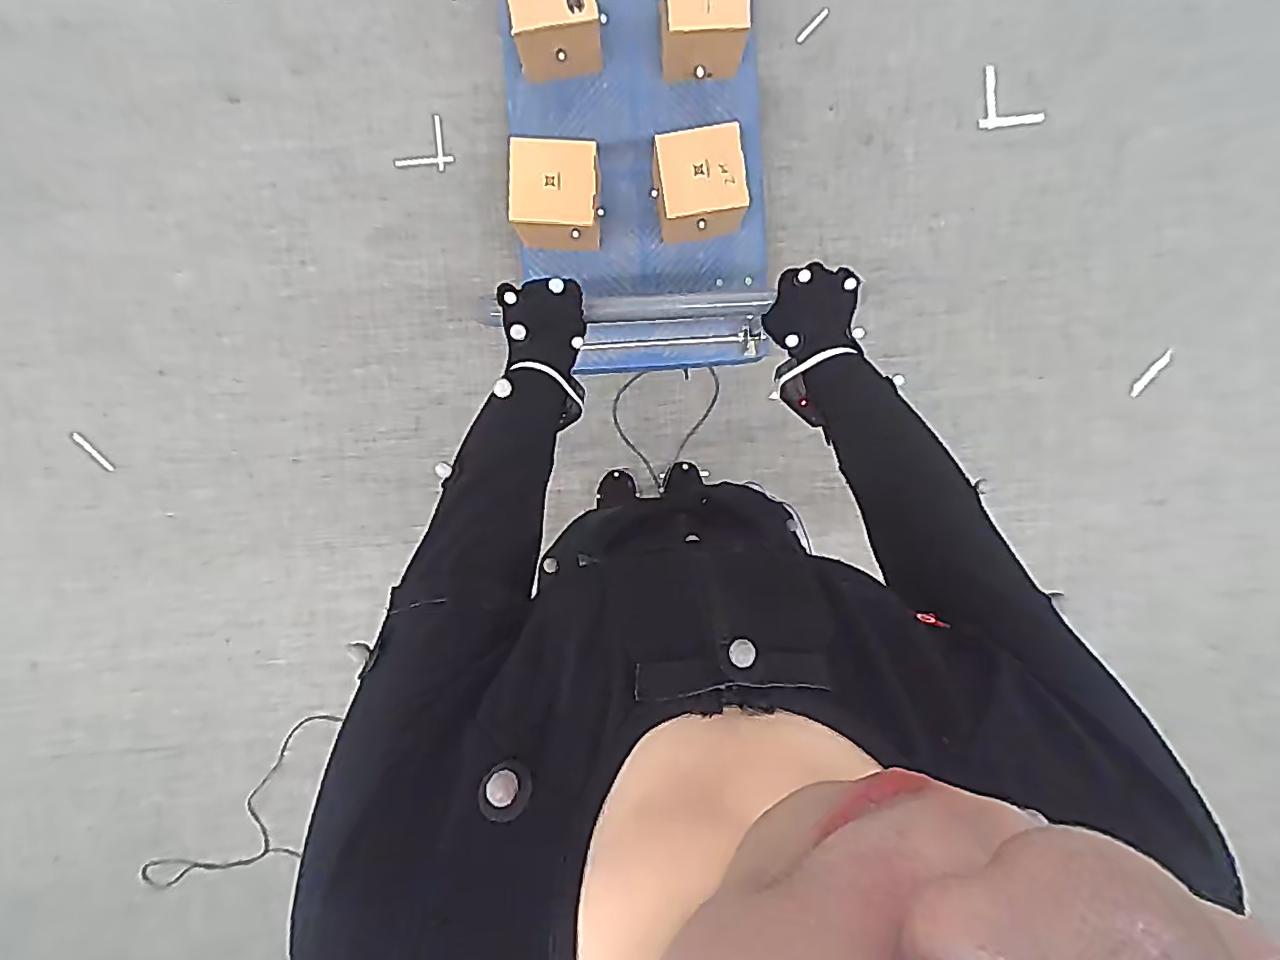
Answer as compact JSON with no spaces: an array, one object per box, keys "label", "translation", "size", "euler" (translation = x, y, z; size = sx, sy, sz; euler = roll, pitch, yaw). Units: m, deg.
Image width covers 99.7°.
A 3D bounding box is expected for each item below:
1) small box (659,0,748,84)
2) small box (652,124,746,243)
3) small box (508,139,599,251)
[{"label":"small box","translation":[0.130,-0.993,1.155],"size":[0.168,0.176,0.179],"euler":[-3,96,0]},{"label":"small box","translation":[0.123,-0.639,1.186],"size":[0.179,0.176,0.168],"euler":[-9,95,0]},{"label":"small box","translation":[-0.184,-0.616,1.186],"size":[0.179,0.176,0.168],"euler":[2,95,-2]}]
